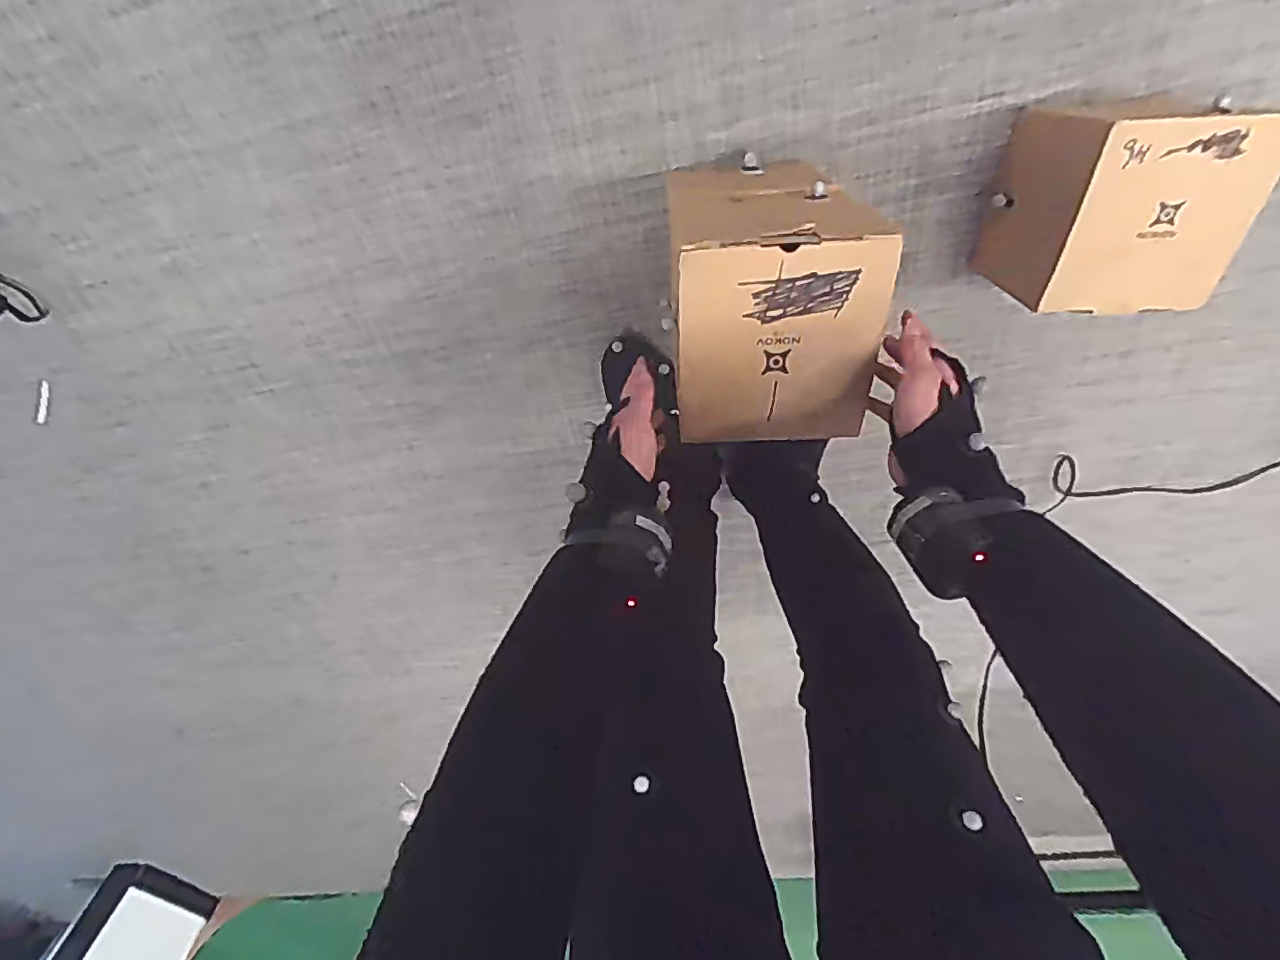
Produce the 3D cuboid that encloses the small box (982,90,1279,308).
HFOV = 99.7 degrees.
[{"bbox_3d":[0.501,-0.299,0.575,0.168,0.176,0.179,1,129,4],"label":"small box"}]

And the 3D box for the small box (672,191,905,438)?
[{"bbox_3d":[0.115,-0.159,0.503,0.168,0.176,0.179,-1,129,4],"label":"small box"}]

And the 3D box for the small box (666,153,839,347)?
[{"bbox_3d":[0.117,-0.264,0.629,0.168,0.176,0.179,-3,127,4],"label":"small box"}]
